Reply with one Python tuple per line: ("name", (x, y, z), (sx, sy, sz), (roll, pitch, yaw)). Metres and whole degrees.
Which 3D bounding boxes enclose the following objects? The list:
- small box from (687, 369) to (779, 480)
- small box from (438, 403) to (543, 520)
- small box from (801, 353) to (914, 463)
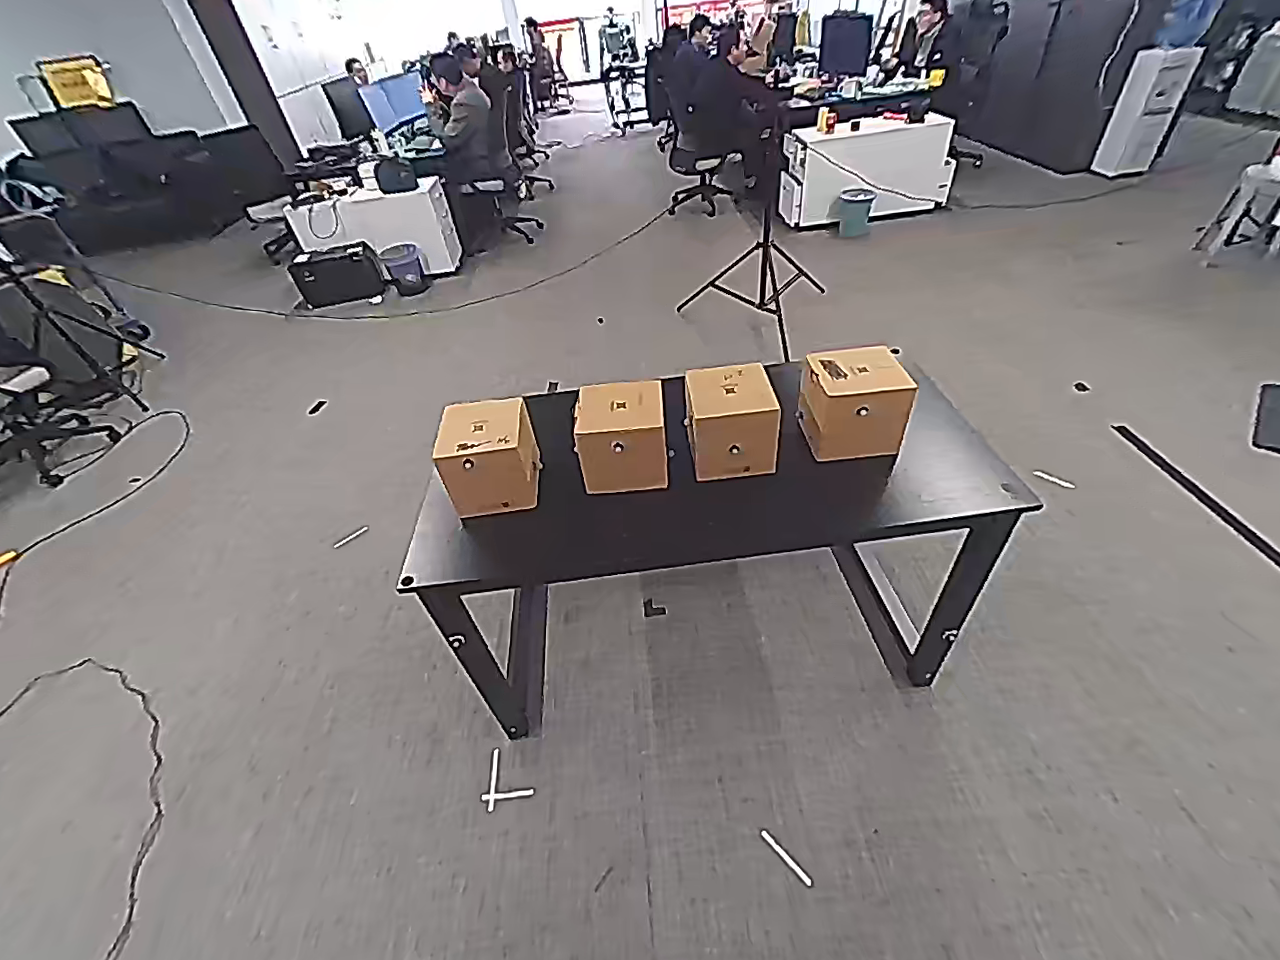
("small box", (0.194, -0.113, 1.154), (0.168, 0.176, 0.179), (-6, 42, 1))
("small box", (-0.306, -0.039, 1.149), (0.168, 0.176, 0.179), (-8, 42, 0))
("small box", (0.452, -0.152, 1.157), (0.179, 0.176, 0.168), (-6, 42, 2))
